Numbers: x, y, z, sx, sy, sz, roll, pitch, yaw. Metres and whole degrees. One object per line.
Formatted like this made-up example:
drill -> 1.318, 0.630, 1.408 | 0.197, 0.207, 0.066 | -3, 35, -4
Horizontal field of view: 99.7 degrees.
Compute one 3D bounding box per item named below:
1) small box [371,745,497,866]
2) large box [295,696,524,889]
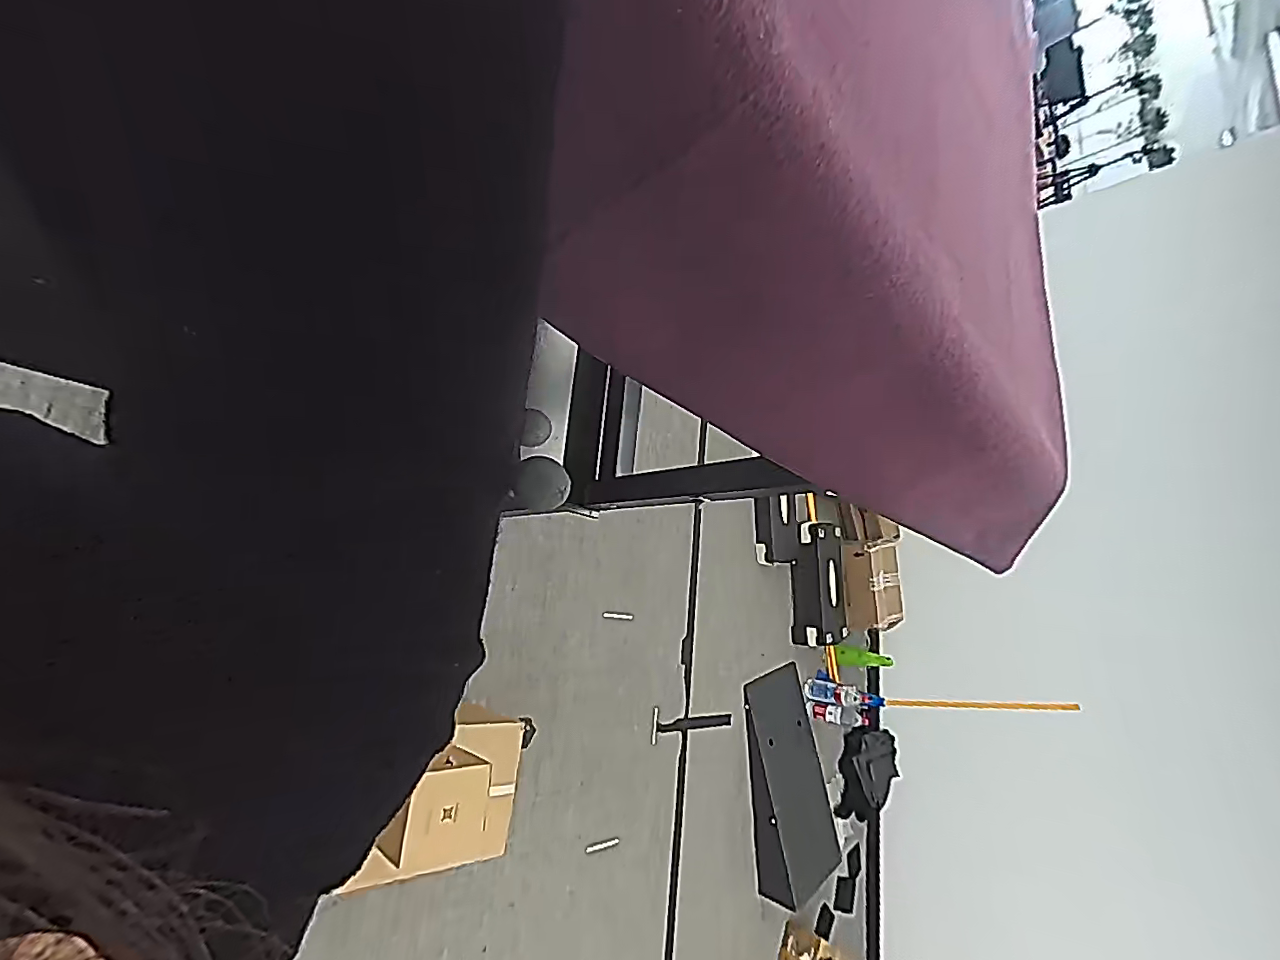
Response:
small box -> -0.430, 0.666, 1.132 | 0.179, 0.176, 0.168 | 19, 70, -42
large box -> -0.561, 0.728, 1.342 | 0.408, 0.320, 0.320 | 21, 71, -43
